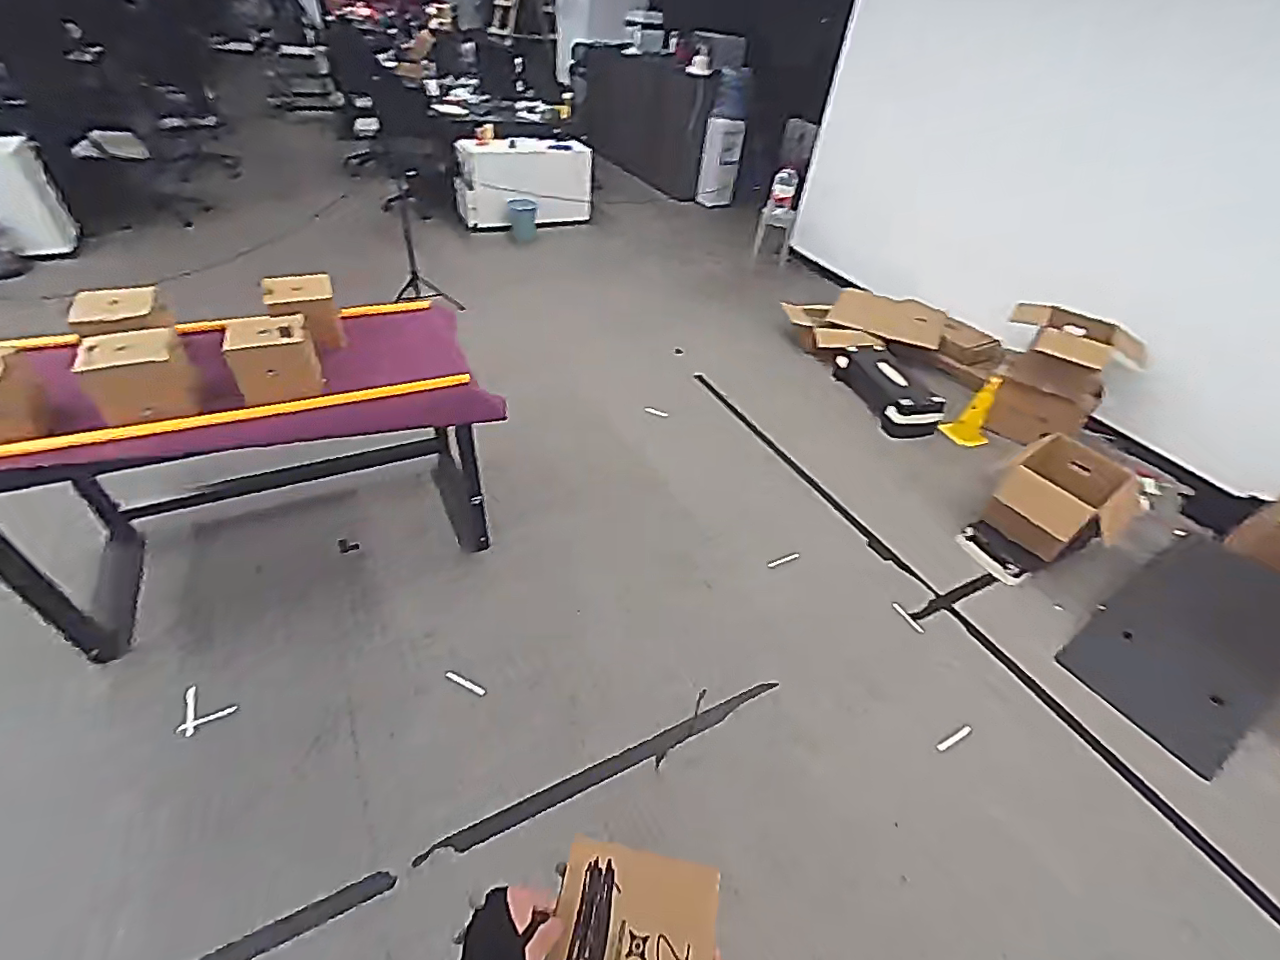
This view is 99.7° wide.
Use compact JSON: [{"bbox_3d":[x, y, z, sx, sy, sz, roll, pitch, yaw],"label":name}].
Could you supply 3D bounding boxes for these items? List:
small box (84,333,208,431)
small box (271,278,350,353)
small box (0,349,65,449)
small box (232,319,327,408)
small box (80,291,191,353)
[{"bbox_3d":[-1.216,-0.246,1.349,0.179,0.176,0.168,-15,46,-24],"label":"small box"},{"bbox_3d":[-1.006,-0.499,1.663,0.179,0.176,0.168,-15,47,-22],"label":"small box"},{"bbox_3d":[-1.480,-0.179,1.234,0.179,0.176,0.168,-14,45,-25],"label":"small box"},{"bbox_3d":[-0.964,-0.316,1.463,0.179,0.176,0.168,-14,44,-21],"label":"small box"},{"bbox_3d":[-1.383,-0.401,1.497,0.168,0.176,0.179,-15,48,-23],"label":"small box"}]
